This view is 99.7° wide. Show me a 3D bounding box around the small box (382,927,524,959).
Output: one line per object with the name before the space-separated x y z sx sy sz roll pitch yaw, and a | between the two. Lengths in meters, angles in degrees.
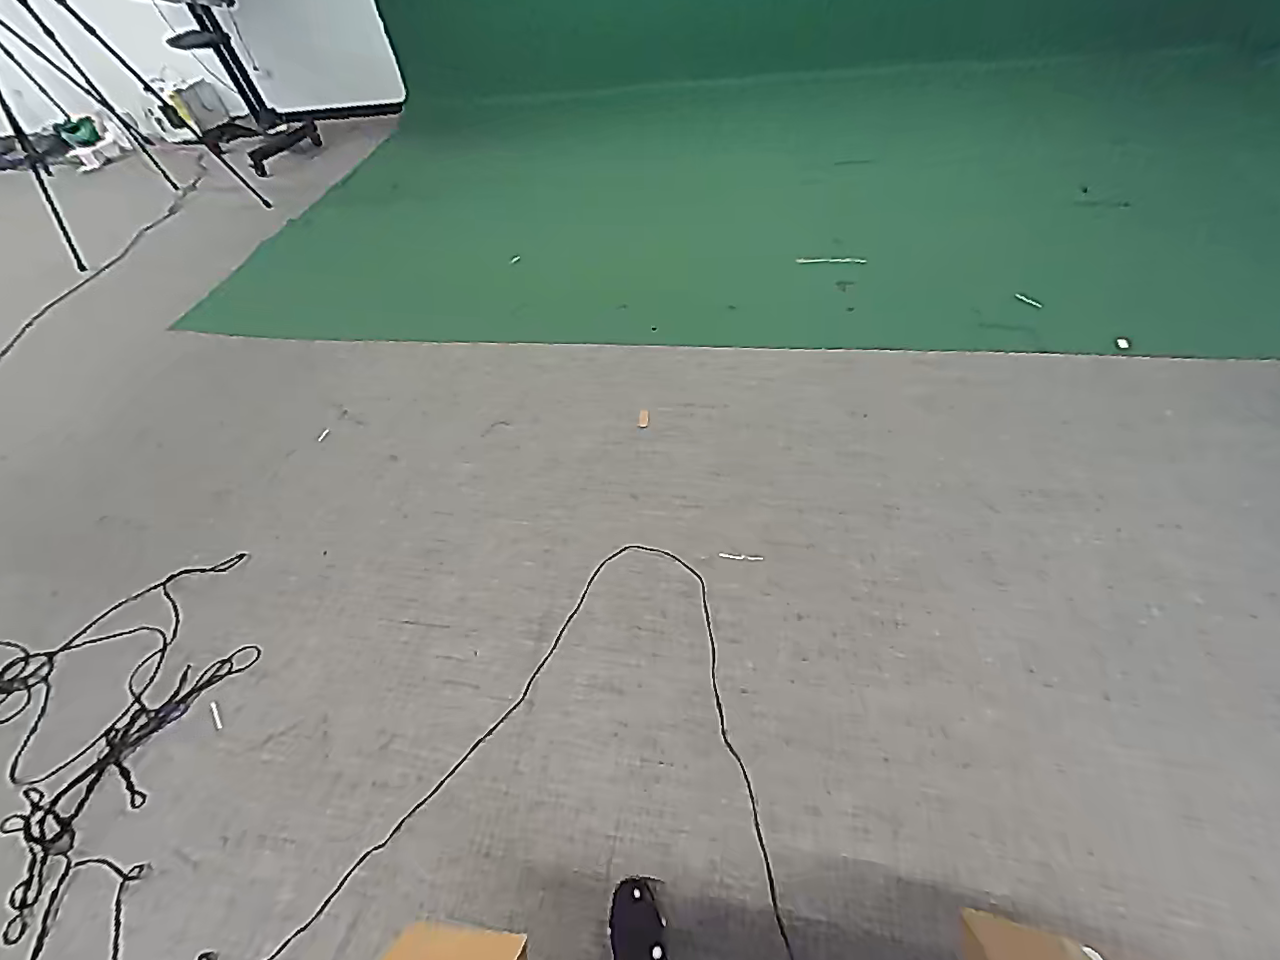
small box | -0.243 0.673 0.622 0.168 0.179 0.176 -1 85 8
